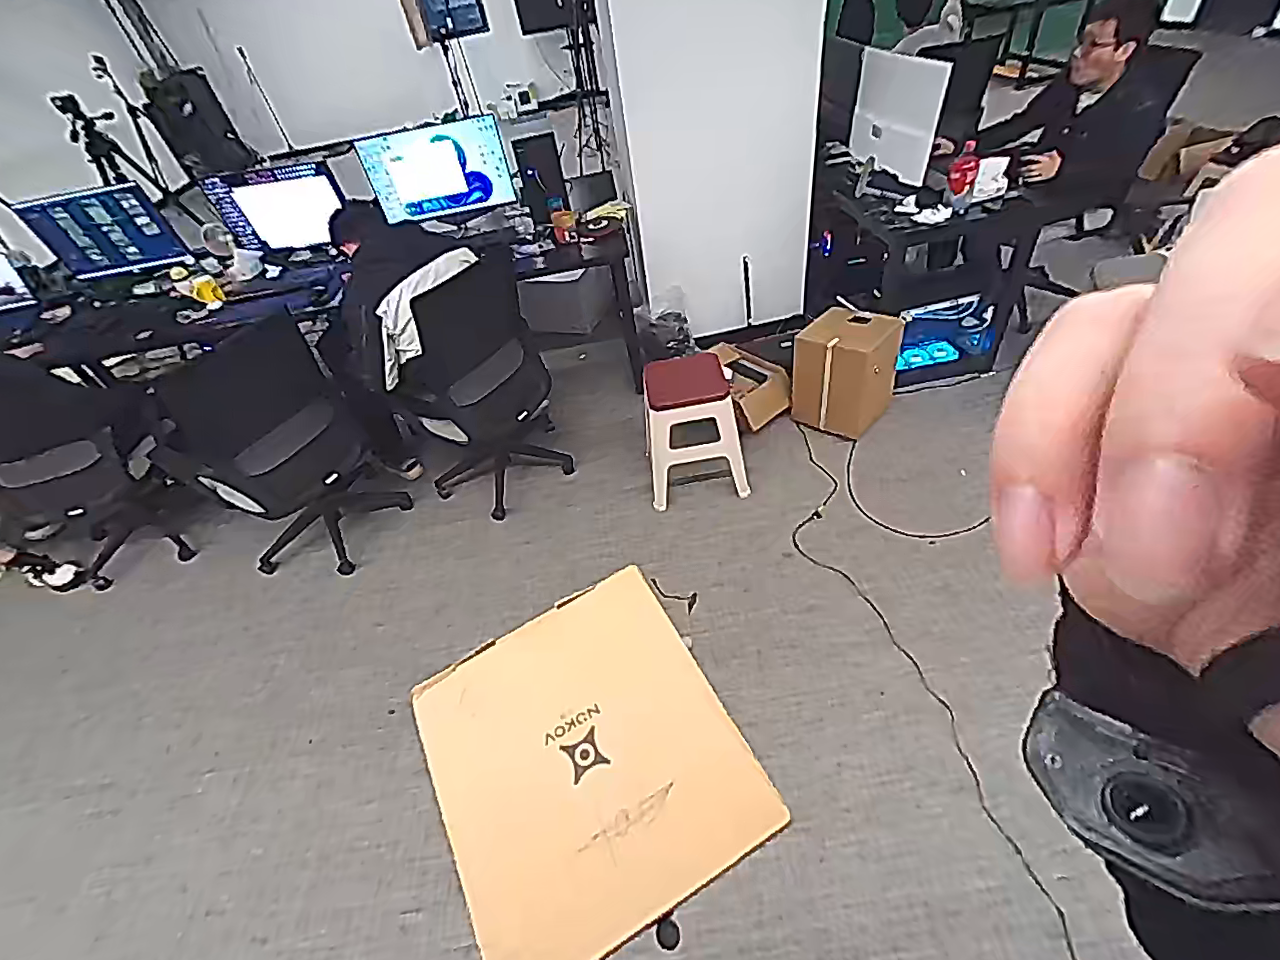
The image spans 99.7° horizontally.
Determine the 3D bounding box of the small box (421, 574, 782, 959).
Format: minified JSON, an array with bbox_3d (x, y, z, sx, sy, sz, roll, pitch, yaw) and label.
[{"bbox_3d":[-0.025,0.206,0.384,0.168,0.176,0.179,-27,55,-11],"label":"small box"}]
